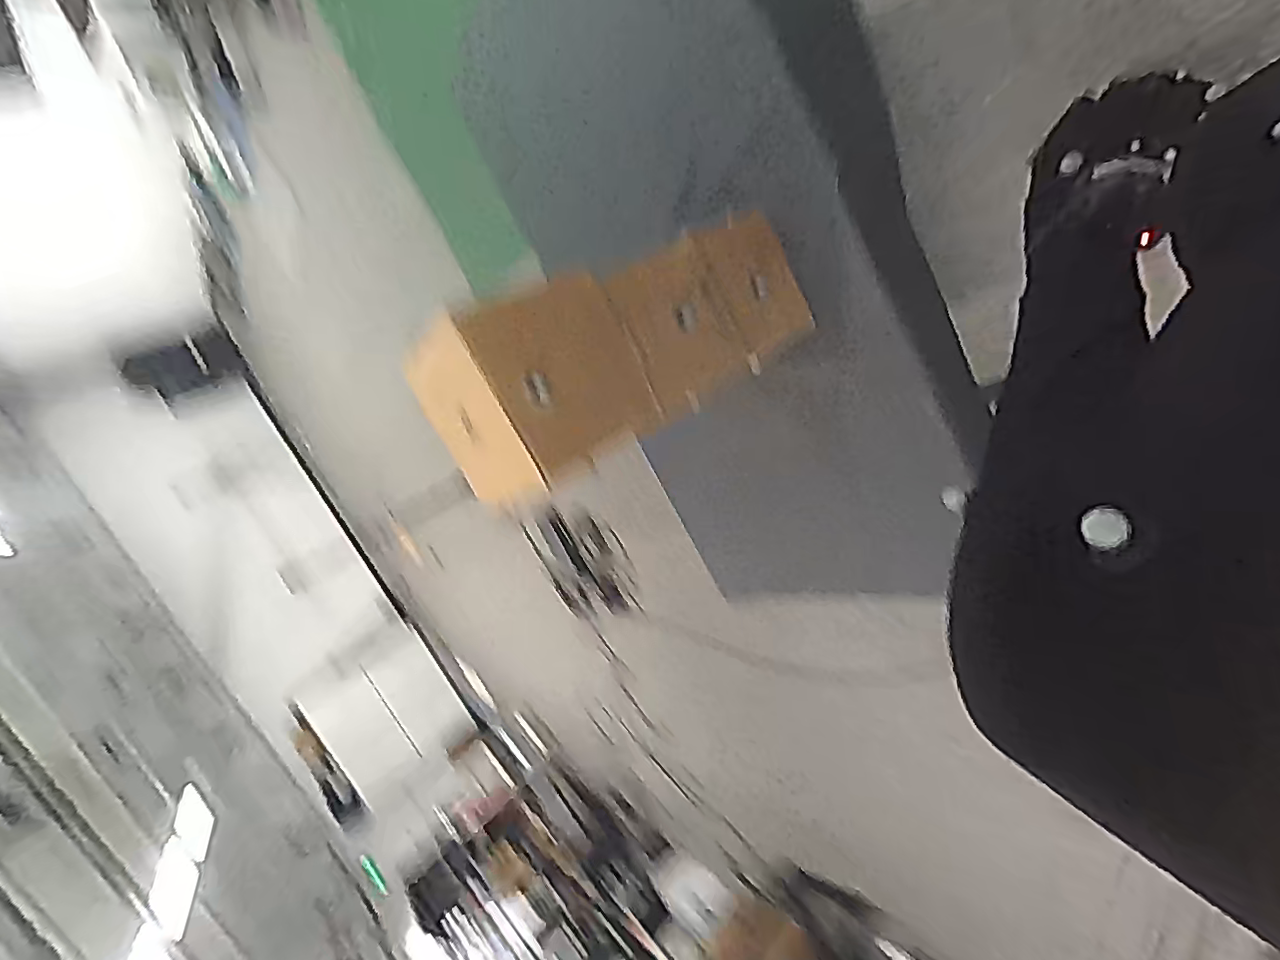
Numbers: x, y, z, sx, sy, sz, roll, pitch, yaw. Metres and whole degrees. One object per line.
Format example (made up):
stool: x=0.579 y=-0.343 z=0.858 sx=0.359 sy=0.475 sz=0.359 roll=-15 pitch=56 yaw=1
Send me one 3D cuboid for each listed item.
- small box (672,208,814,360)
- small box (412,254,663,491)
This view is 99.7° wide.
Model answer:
small box: x=0.112 y=-0.261 z=0.769 sx=0.168 sy=0.176 sz=0.179 roll=-15 pitch=107 yaw=54
small box: x=-0.106 y=-0.111 z=0.578 sx=0.168 sy=0.176 sz=0.179 roll=-15 pitch=105 yaw=53
